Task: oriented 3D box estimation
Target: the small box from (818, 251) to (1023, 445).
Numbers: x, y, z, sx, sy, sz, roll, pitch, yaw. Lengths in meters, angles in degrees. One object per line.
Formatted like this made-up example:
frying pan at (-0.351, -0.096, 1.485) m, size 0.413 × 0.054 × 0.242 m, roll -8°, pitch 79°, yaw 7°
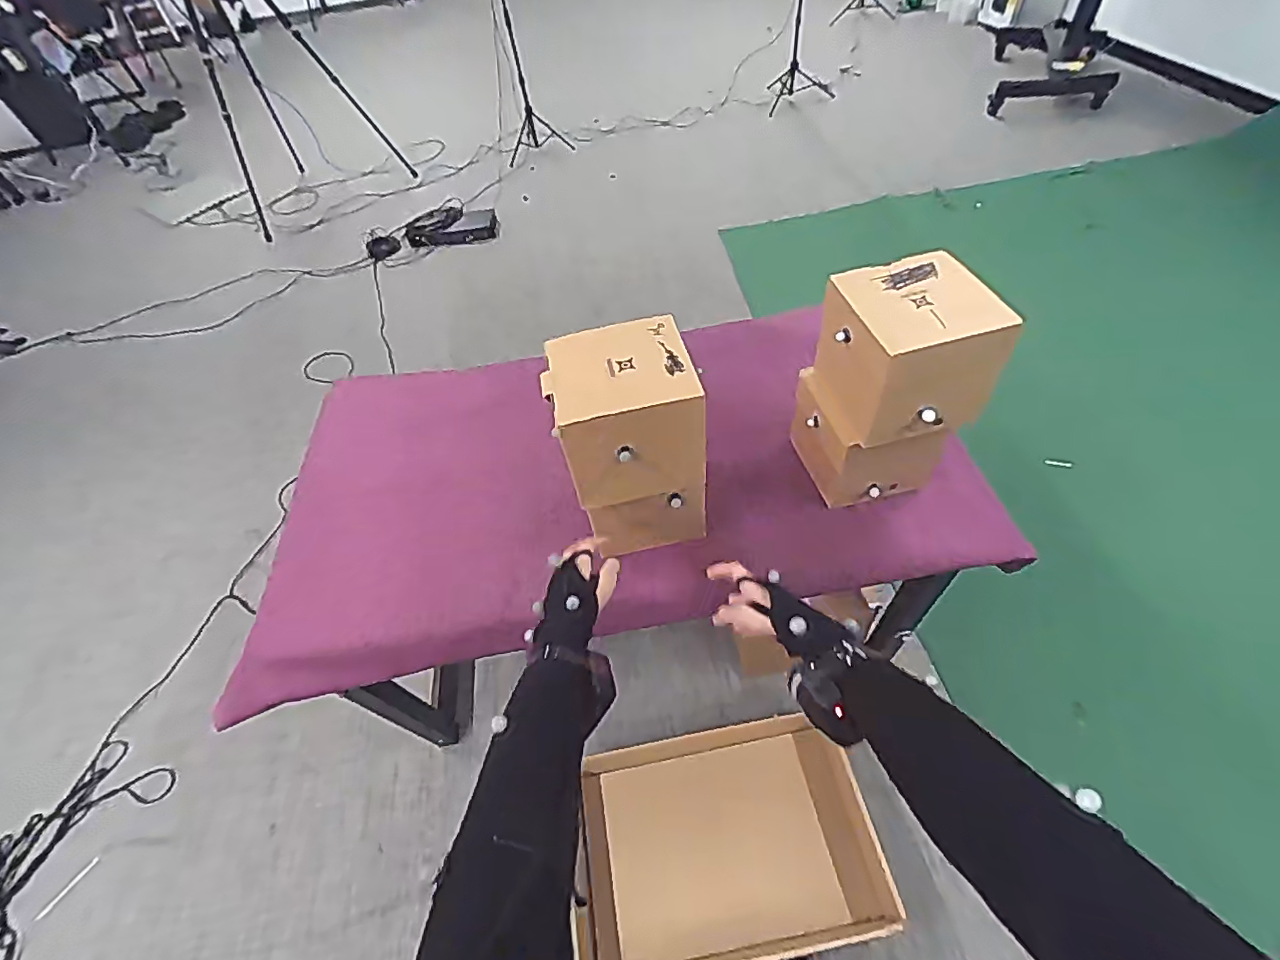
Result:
small box at (0.357, -0.177, 0.734) m, size 0.168 × 0.176 × 0.179 m, roll -14°, pitch 51°, yaw -1°

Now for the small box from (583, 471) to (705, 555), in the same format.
small box at (0.000, -0.003, 0.858) m, size 0.179 × 0.176 × 0.168 m, roll -12°, pitch 51°, yaw -1°

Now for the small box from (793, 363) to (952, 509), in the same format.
small box at (0.358, -0.082, 0.869) m, size 0.168 × 0.176 × 0.179 m, roll -14°, pitch 51°, yaw -1°

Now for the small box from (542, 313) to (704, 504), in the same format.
small box at (-0.019, -0.088, 0.718) m, size 0.179 × 0.176 × 0.168 m, roll -13°, pitch 52°, yaw -2°
